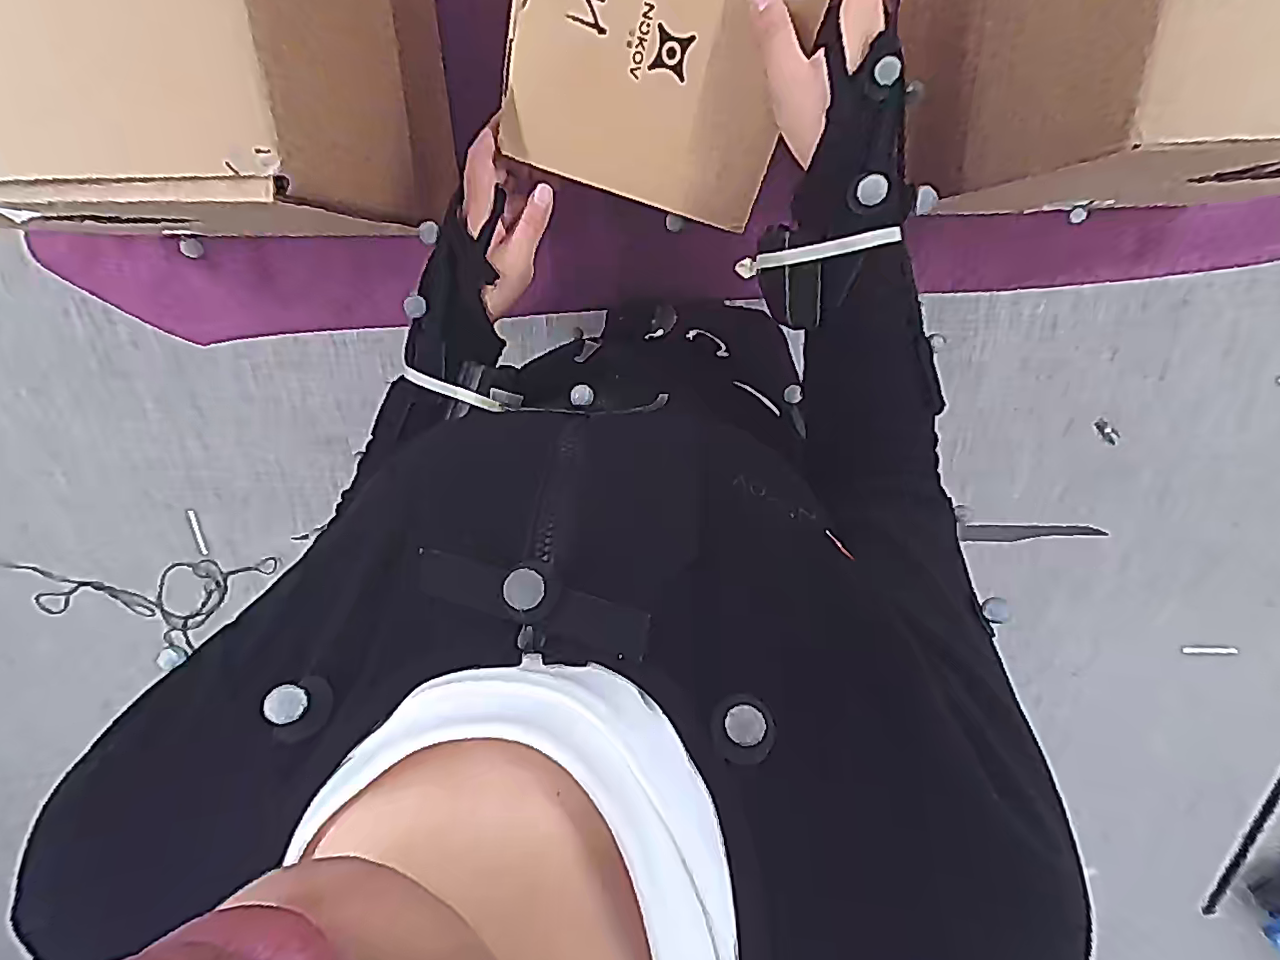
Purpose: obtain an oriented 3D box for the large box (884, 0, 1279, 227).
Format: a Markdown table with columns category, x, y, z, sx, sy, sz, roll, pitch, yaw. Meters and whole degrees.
| category | x | y | z | sx | sy | sz | roll | pitch | yaw |
| --- | --- | --- | --- | --- | --- | --- | --- | --- | --- |
| large box | 0.371 | -0.388 | 0.315 | 0.320 | 0.320 | 0.408 | -1 | 110 | 1 |
